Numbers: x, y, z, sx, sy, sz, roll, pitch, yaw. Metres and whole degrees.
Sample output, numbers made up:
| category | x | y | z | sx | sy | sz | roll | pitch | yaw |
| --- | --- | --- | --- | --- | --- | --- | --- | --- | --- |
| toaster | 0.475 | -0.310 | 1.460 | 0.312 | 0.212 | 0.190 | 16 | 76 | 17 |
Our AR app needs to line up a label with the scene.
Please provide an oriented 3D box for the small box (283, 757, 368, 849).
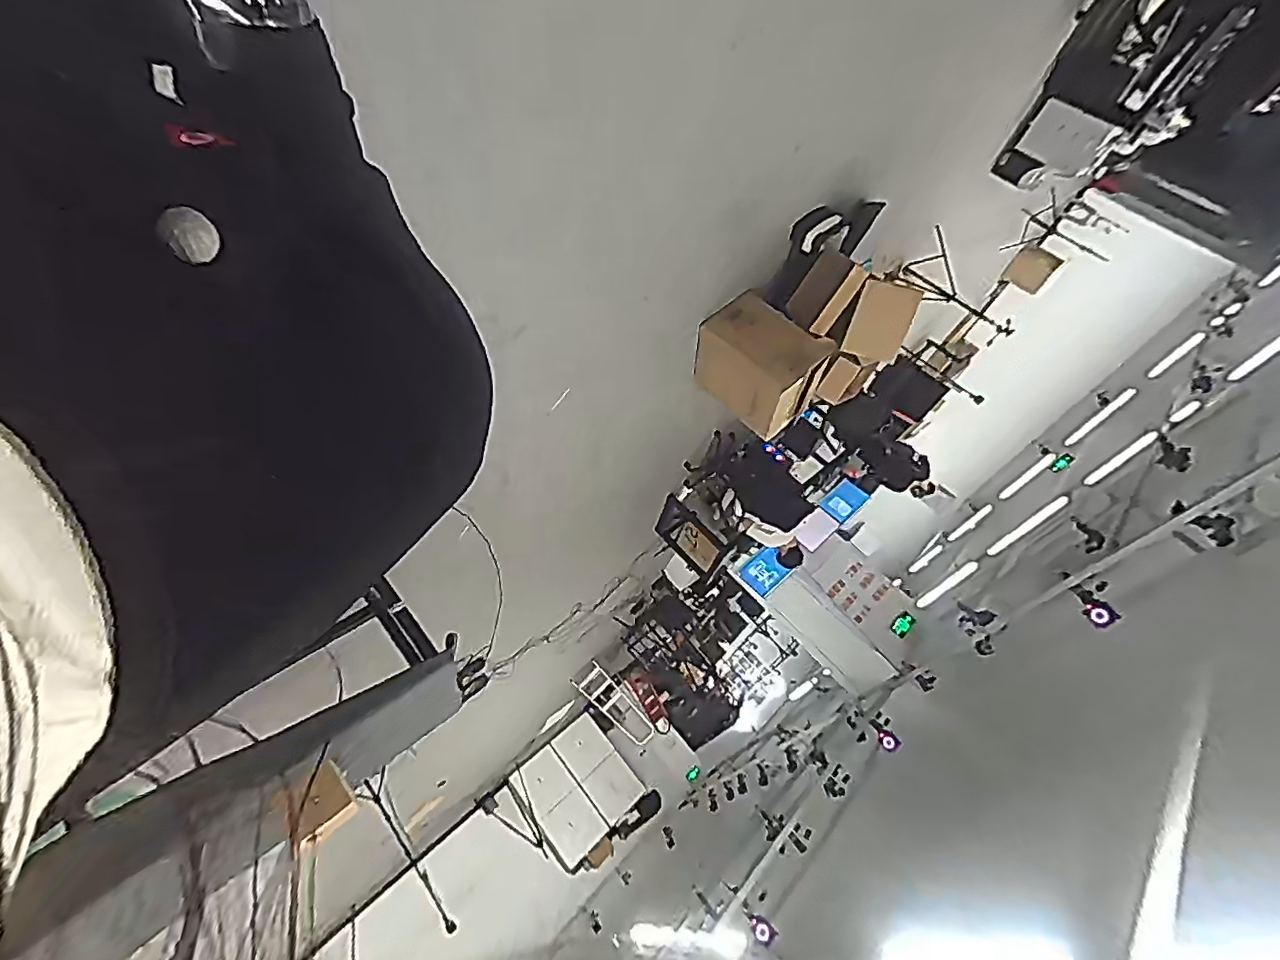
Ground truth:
| category | x | y | z | sx | sy | sz | roll | pitch | yaw |
| --- | --- | --- | --- | --- | --- | --- | --- | --- | --- |
| small box | -1.003 | 1.027 | 1.722 | 0.179 | 0.176 | 0.168 | -32 | 157 | -34 |
